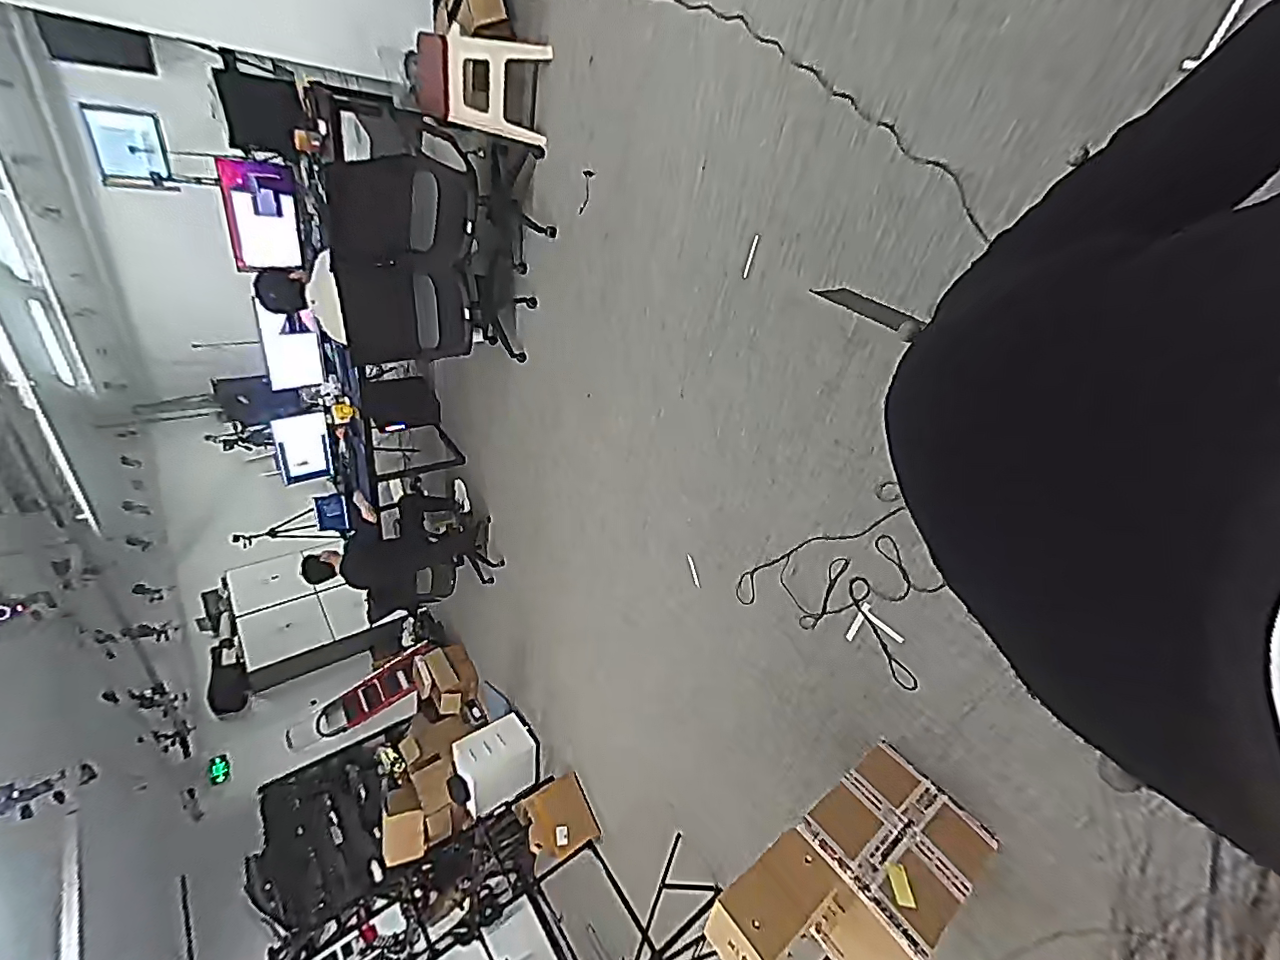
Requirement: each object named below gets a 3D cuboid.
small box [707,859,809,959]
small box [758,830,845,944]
[{"bbox_3d":[0.309,1.150,1.410,0.179,0.176,0.168,35,125,41],"label":"small box"},{"bbox_3d":[0.435,1.125,1.515,0.179,0.176,0.168,35,126,42],"label":"small box"}]
